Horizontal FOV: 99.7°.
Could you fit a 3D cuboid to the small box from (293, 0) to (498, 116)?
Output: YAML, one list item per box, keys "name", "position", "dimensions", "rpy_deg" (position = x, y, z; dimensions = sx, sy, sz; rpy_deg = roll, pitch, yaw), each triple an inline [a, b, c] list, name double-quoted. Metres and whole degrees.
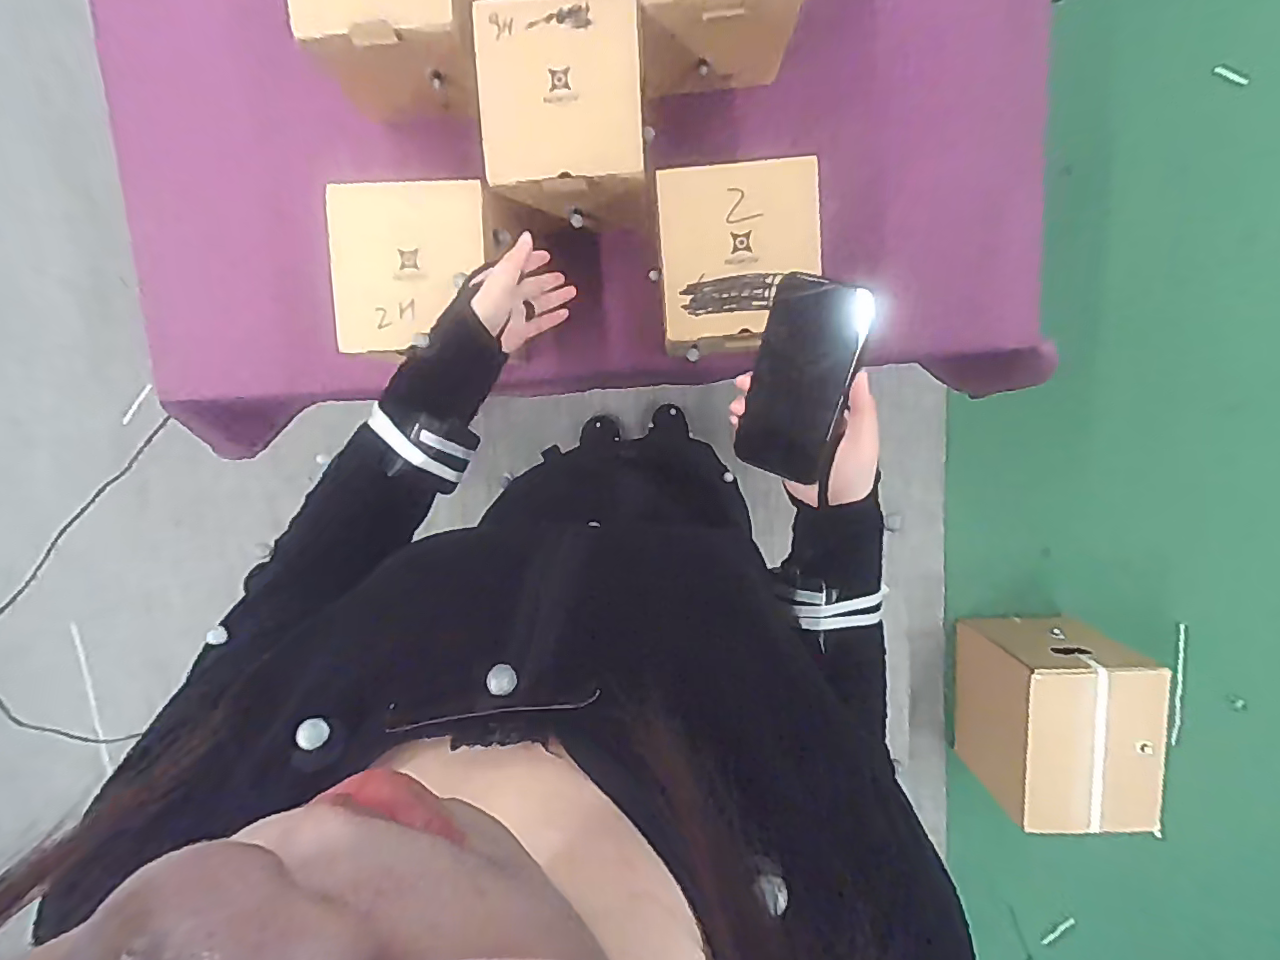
- name: "small box"
  position: [-0.267, -0.542, 0.612]
  dimensions: [0.168, 0.176, 0.179]
  rpy_deg: [-3, 97, 1]

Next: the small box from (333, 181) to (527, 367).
- name: "small box"
  position: [-0.237, -0.233, 0.651]
  dimensions: [0.168, 0.176, 0.179]
  rpy_deg: [0, 97, 2]

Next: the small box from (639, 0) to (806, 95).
- name: "small box"
  position: [0.081, -0.573, 0.598]
  dimensions: [0.168, 0.176, 0.179]
  rpy_deg: [-5, 99, 2]
